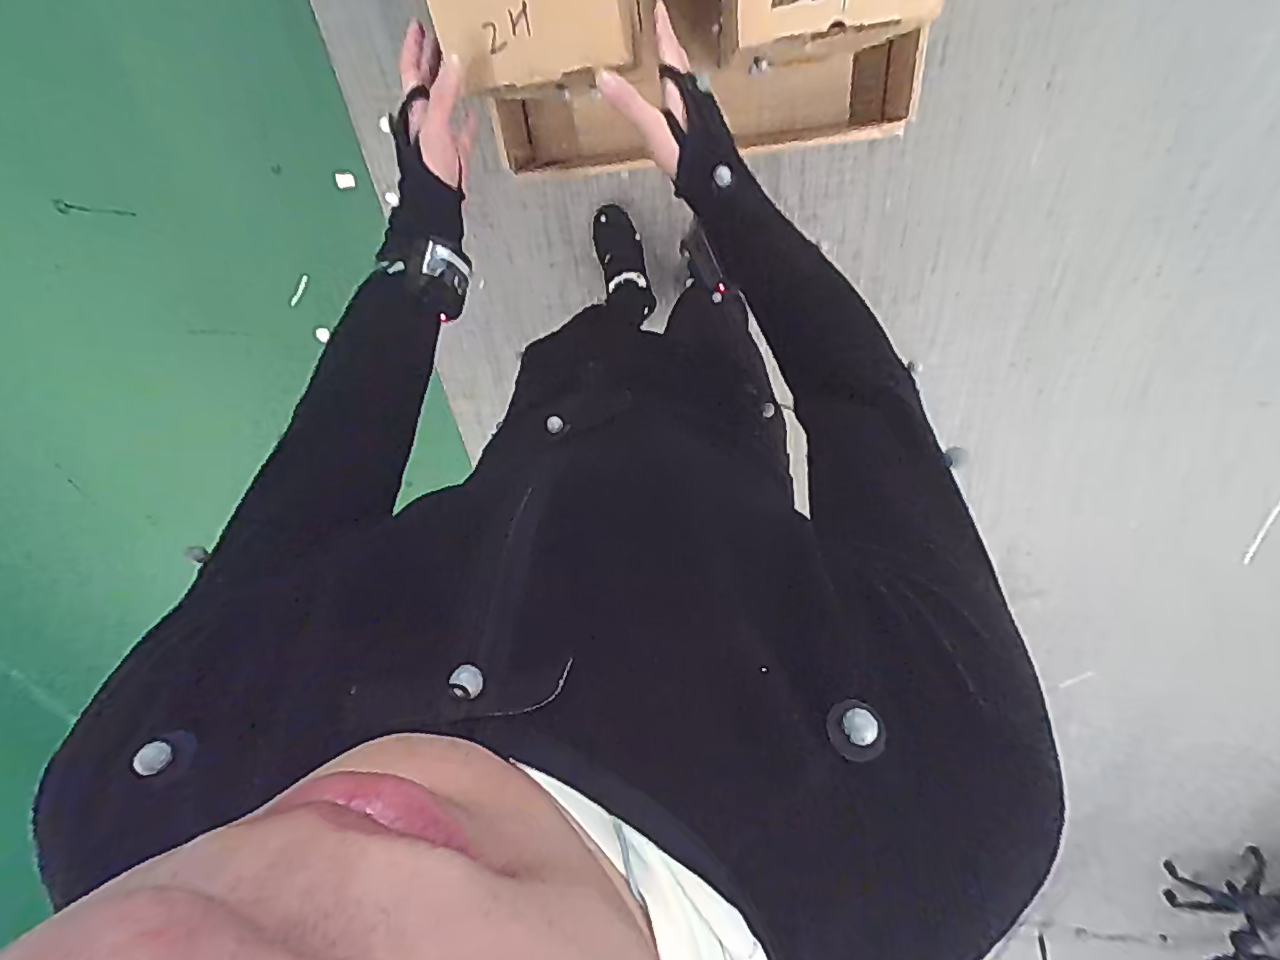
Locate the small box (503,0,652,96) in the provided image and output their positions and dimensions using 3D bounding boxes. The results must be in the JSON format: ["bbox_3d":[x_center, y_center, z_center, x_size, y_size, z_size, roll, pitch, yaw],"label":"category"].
[{"bbox_3d":[-0.082,-0.572,0.644,0.179,0.176,0.168,-4,124,10],"label":"small box"}]

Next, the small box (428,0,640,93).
[{"bbox_3d":[-0.098,-0.482,0.506,0.168,0.176,0.179,-4,125,10],"label":"small box"}]

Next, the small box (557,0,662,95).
[{"bbox_3d":[-0.066,-0.666,0.778,0.179,0.176,0.168,-4,124,8],"label":"small box"}]

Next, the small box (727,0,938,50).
[{"bbox_3d":[0.161,-0.492,0.467,0.168,0.176,0.179,-2,124,8],"label":"small box"}]
